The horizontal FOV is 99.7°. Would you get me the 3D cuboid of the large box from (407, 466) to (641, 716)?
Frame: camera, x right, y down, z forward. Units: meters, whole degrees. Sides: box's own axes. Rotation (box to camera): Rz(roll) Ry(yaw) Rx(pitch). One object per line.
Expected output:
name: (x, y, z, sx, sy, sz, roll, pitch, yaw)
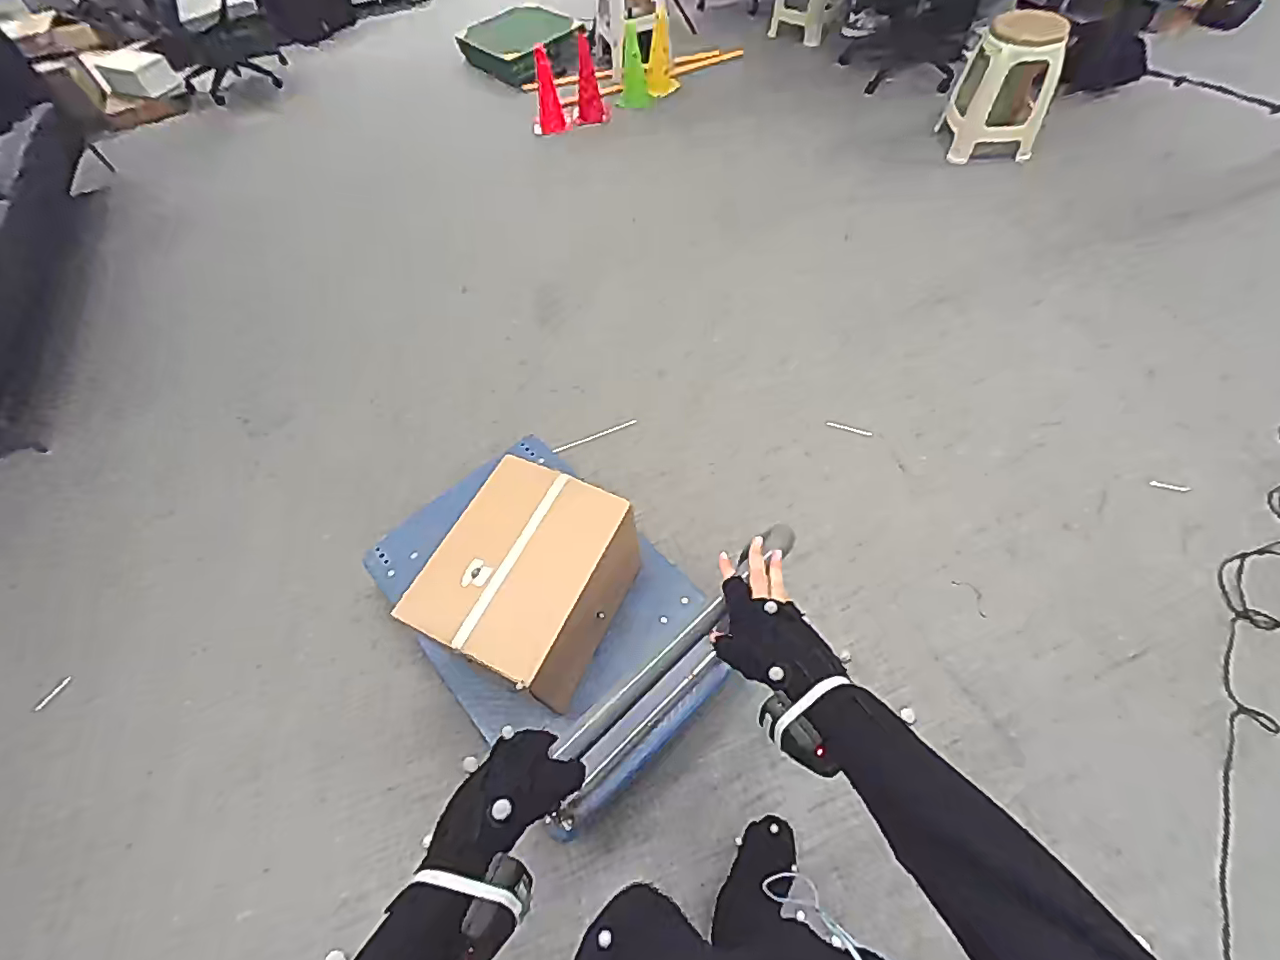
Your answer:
large box: (-0.218, 0.246, 1.201, 0.320, 0.320, 0.408, 19, 62, 17)
